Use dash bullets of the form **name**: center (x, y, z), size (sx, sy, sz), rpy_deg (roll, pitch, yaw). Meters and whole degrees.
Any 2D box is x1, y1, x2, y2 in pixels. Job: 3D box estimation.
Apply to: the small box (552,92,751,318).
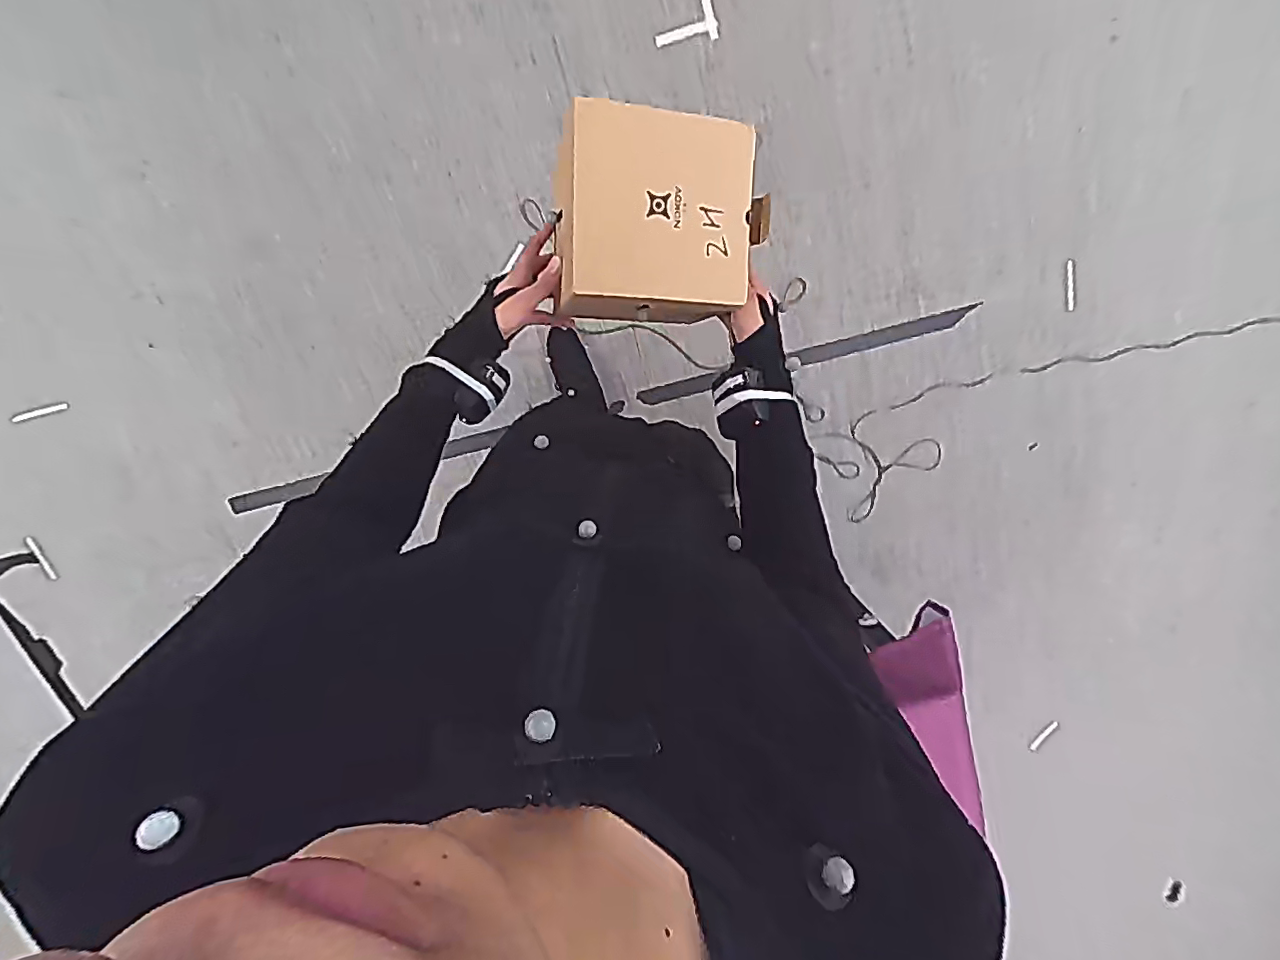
- **small box**: center (-0.001, -0.269, 0.574), size (0.179, 0.176, 0.168), rpy_deg (-1, 100, -15)
